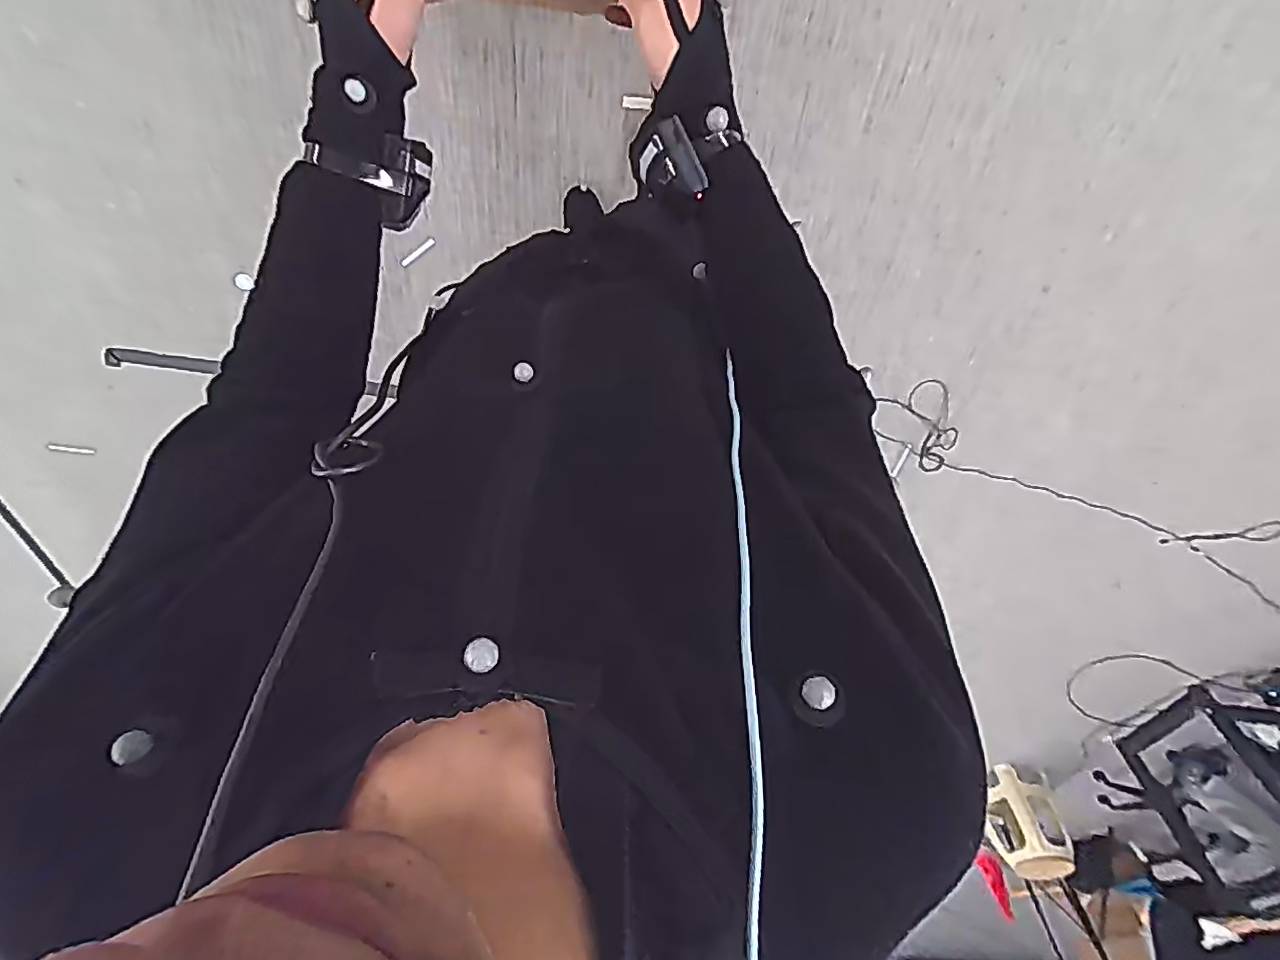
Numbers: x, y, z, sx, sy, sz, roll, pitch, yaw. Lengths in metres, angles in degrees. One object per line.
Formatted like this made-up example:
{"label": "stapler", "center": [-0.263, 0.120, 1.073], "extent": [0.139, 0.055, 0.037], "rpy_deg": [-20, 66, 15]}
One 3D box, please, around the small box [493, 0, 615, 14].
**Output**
{"label": "small box", "center": [-0.089, -0.476, 0.404], "extent": [0.179, 0.176, 0.168], "rpy_deg": [-1, 123, -11]}
